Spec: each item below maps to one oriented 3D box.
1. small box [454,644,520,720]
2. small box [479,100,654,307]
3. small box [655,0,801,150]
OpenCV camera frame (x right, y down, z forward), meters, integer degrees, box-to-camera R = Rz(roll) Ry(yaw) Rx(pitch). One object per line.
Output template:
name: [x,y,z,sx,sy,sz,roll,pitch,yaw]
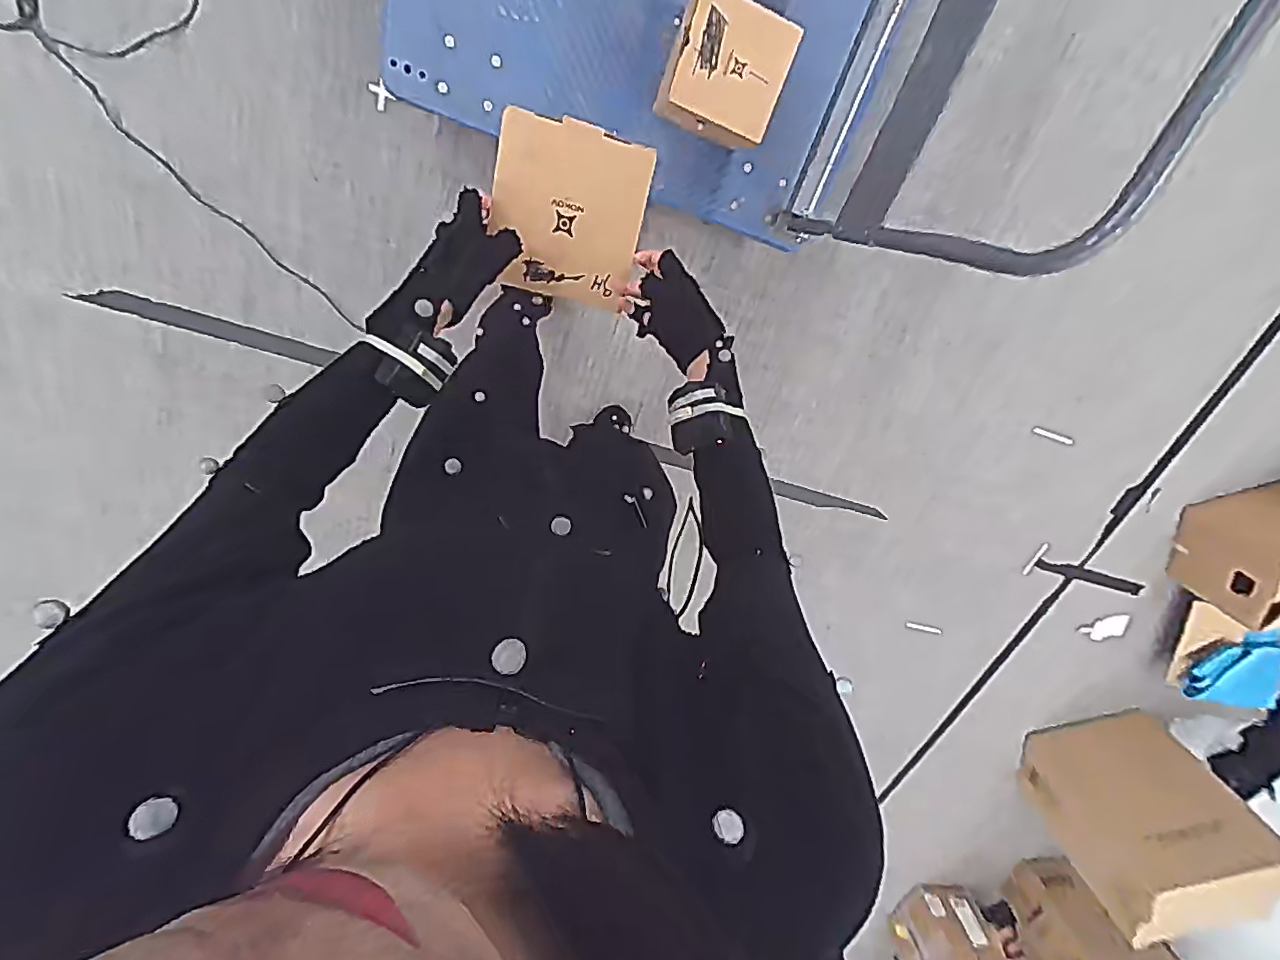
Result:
small box: [-0.510,0.671,1.810,0.179,0.176,0.168,11,117,-13]
small box: [-0.090,-0.324,0.673,0.168,0.176,0.179,12,107,-9]
small box: [0.138,-0.692,0.934,0.179,0.176,0.168,16,115,-16]
